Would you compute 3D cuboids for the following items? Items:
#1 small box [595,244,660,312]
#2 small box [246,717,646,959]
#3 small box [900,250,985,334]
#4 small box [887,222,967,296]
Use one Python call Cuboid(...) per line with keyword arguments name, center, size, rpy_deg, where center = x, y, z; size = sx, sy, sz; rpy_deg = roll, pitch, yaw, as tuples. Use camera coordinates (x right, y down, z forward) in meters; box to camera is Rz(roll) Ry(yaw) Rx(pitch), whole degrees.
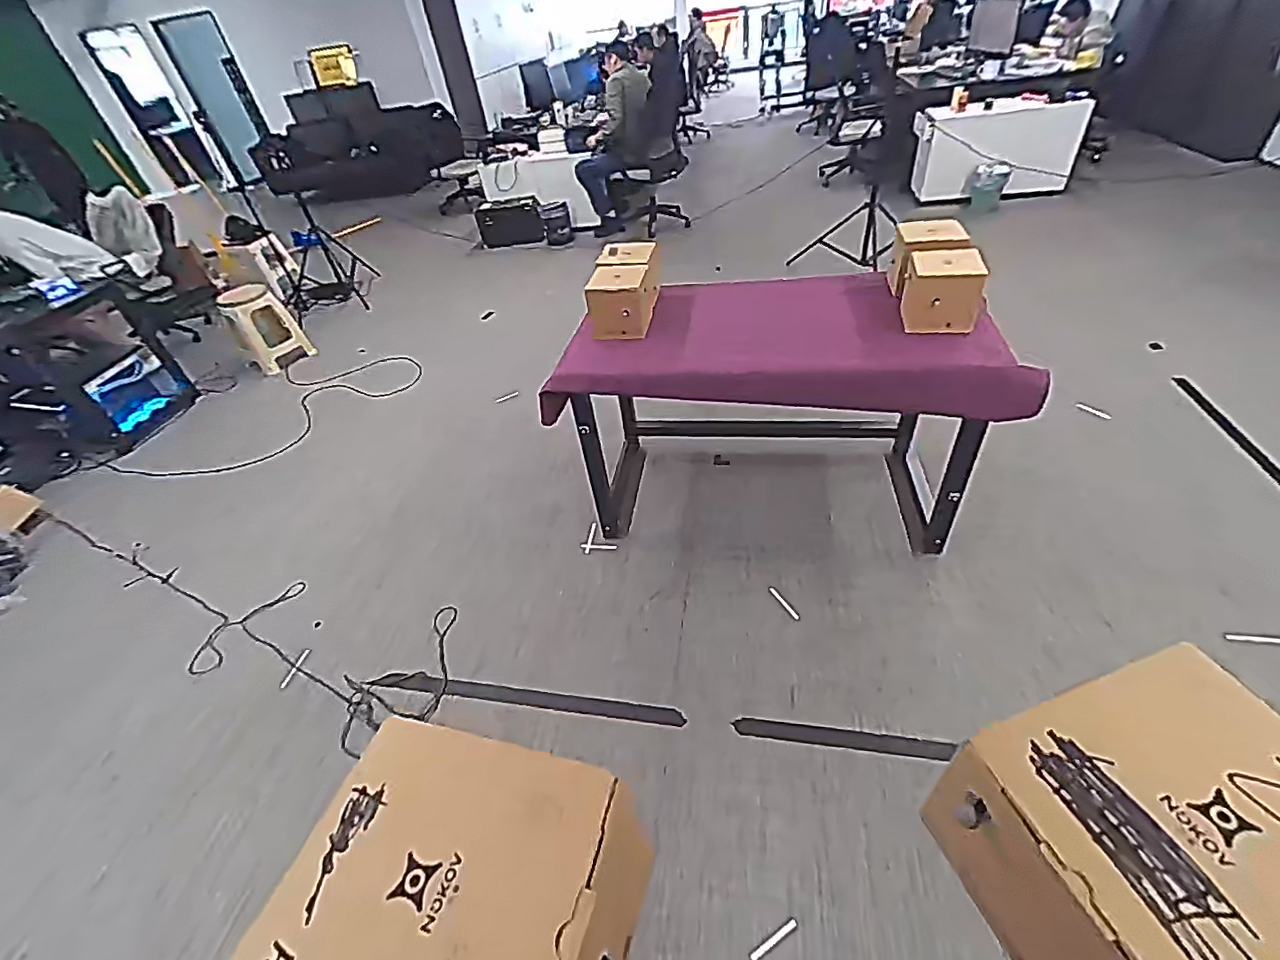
Cuboid(name="small box", center=(-0.038, -0.681, 1.833), size=(0.179, 0.176, 0.168), rpy_deg=(4, 45, 13))
Cuboid(name="small box", center=(-0.102, 0.287, 0.349), size=(0.179, 0.176, 0.168), rpy_deg=(6, 42, 16))
Cuboid(name="small box", center=(0.829, -0.517, 1.497), size=(0.168, 0.176, 0.179), rpy_deg=(4, 42, 16))
Cuboid(name="small box", center=(0.867, -0.672, 1.654), size=(0.179, 0.176, 0.168), rpy_deg=(3, 44, 12))
